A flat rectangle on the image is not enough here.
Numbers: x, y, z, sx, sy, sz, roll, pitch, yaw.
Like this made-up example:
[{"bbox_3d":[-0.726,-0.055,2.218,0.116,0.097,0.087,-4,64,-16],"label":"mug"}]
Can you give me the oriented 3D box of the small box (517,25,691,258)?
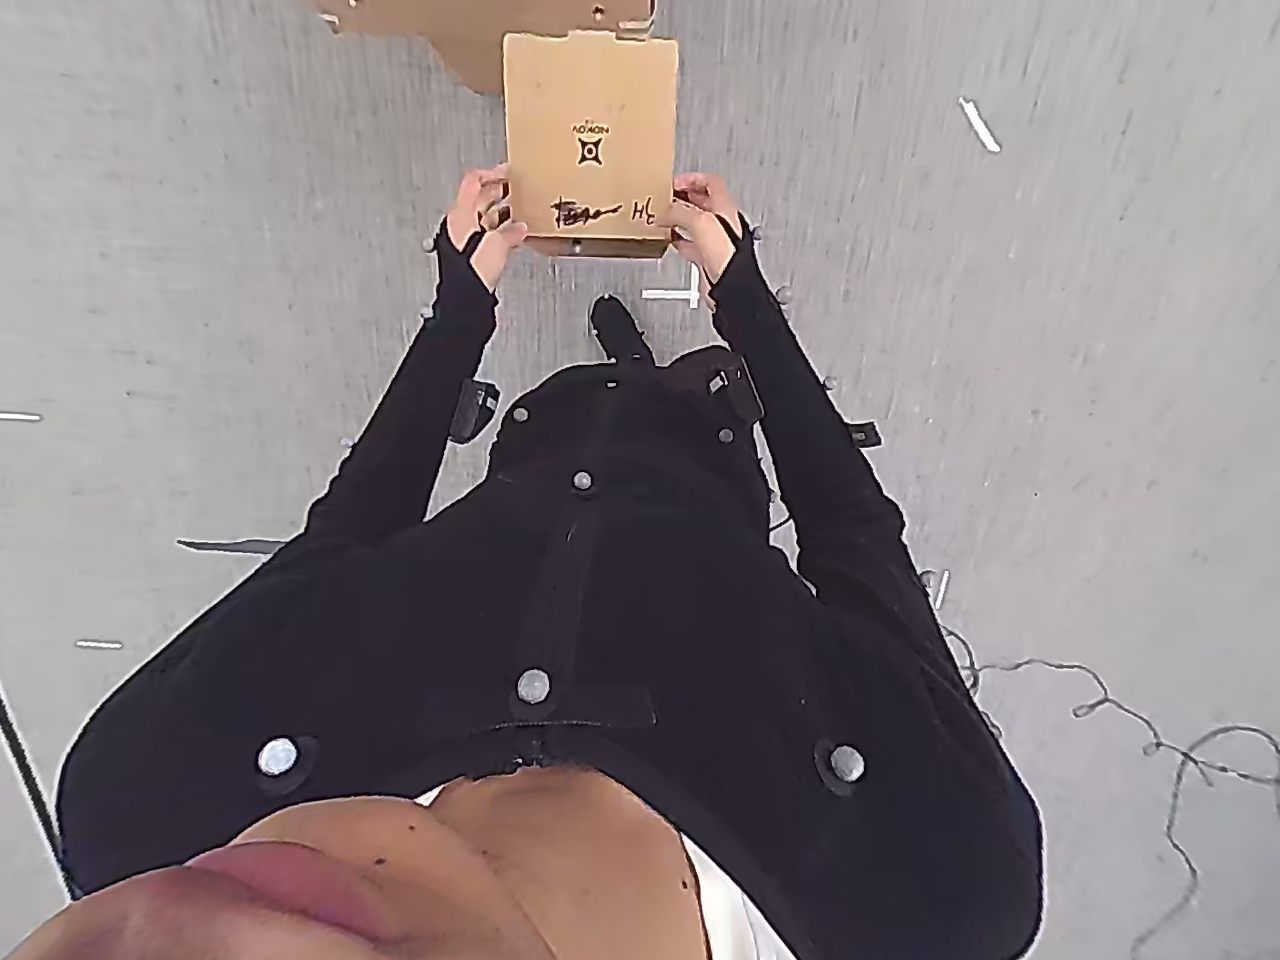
[{"bbox_3d":[-0.039,-0.354,0.600,0.168,0.176,0.179,2,106,-1],"label":"small box"}]
